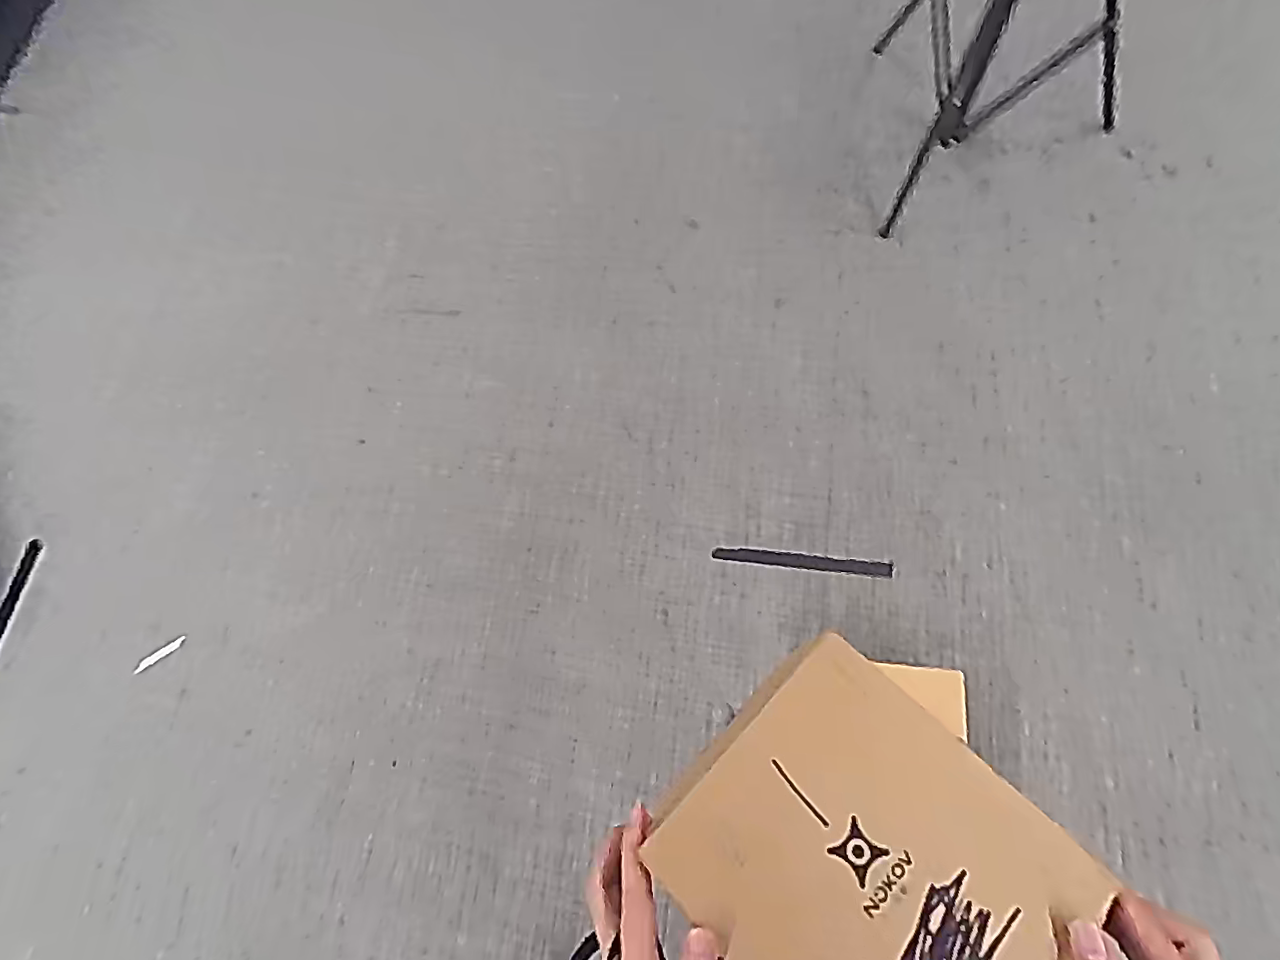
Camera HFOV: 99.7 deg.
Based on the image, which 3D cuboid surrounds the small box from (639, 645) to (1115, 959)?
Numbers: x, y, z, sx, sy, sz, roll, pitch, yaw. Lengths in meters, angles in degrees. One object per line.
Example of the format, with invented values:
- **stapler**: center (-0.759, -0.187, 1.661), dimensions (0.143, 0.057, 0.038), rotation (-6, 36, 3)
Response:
- **small box**: center (0.122, 0.233, 0.347), dimensions (0.168, 0.176, 0.179), rotation (-43, 69, -13)
